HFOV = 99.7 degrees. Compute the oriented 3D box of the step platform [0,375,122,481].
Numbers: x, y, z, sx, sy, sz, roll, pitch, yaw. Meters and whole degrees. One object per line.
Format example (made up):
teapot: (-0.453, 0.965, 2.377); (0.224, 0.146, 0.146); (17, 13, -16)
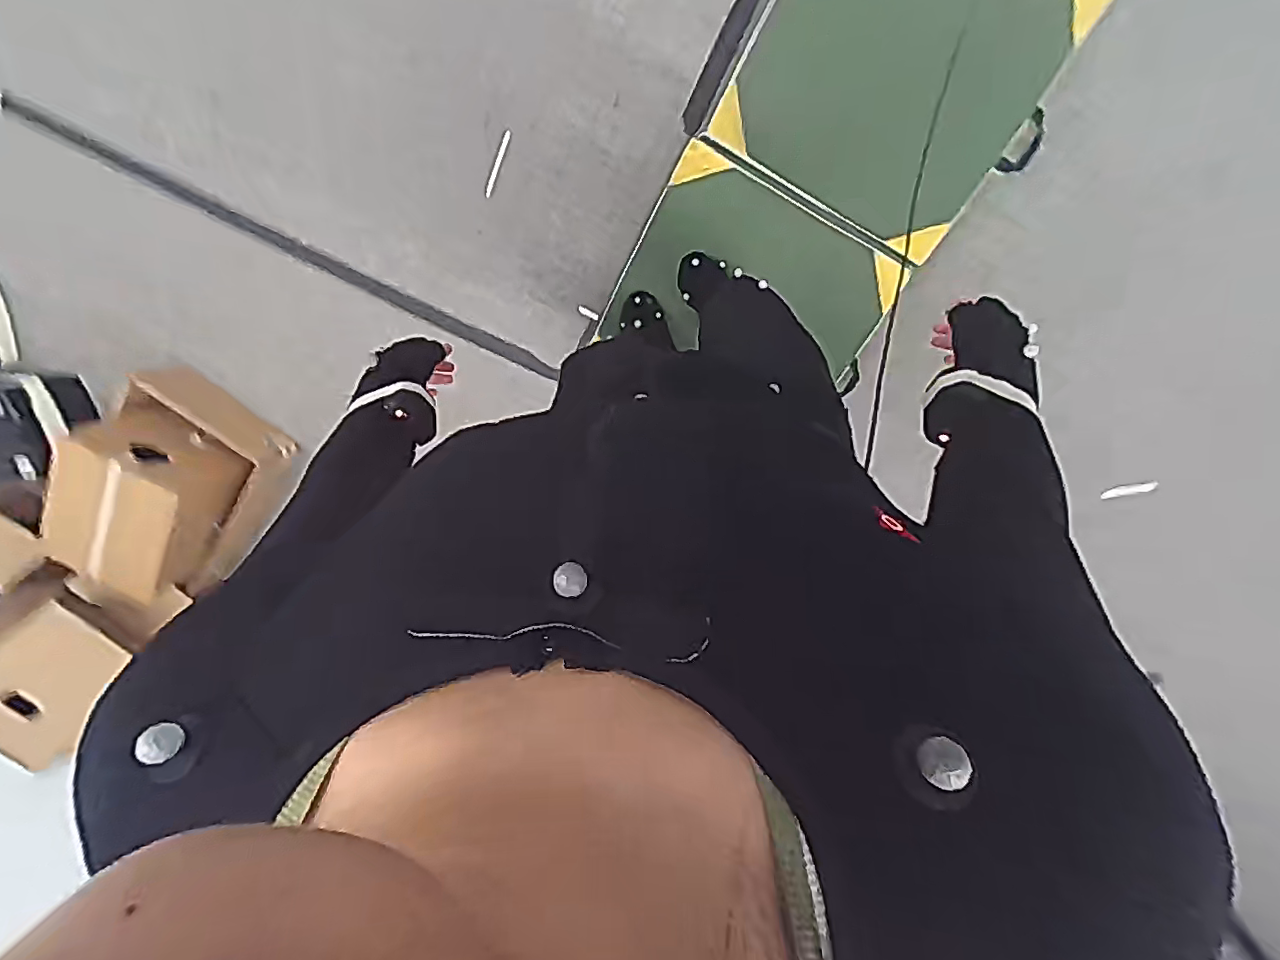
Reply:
step platform: (-2.016, -0.155, 1.653); (0.684, 0.204, 0.286); (-1, 113, 5)
